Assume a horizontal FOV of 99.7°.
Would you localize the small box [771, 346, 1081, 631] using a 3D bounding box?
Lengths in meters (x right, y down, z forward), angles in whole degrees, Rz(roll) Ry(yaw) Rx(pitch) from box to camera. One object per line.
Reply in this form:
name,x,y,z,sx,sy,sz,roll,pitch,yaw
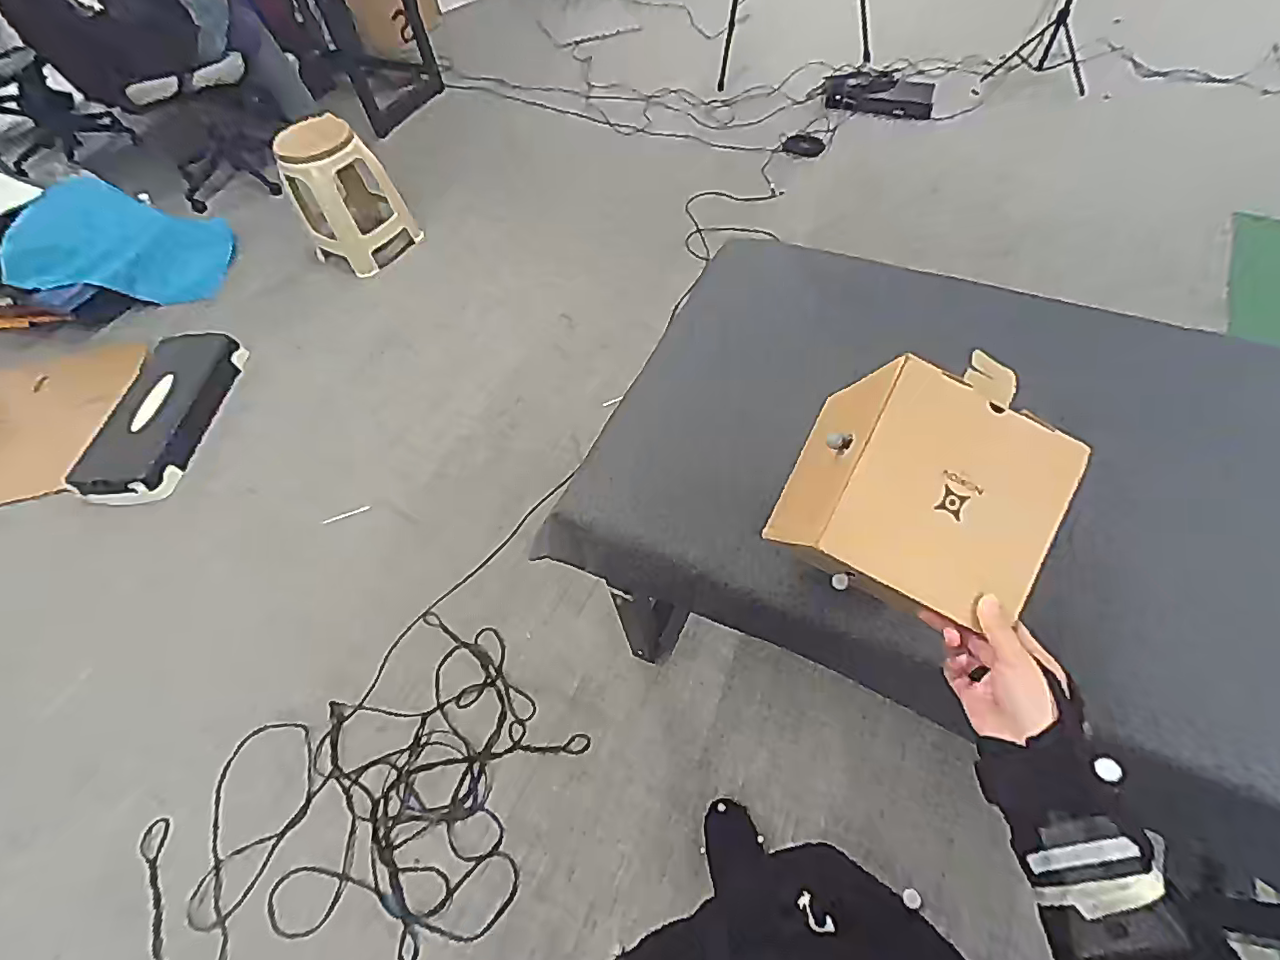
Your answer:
small box,0.239,0.012,0.503,0.168,0.176,0.179,27,84,1
